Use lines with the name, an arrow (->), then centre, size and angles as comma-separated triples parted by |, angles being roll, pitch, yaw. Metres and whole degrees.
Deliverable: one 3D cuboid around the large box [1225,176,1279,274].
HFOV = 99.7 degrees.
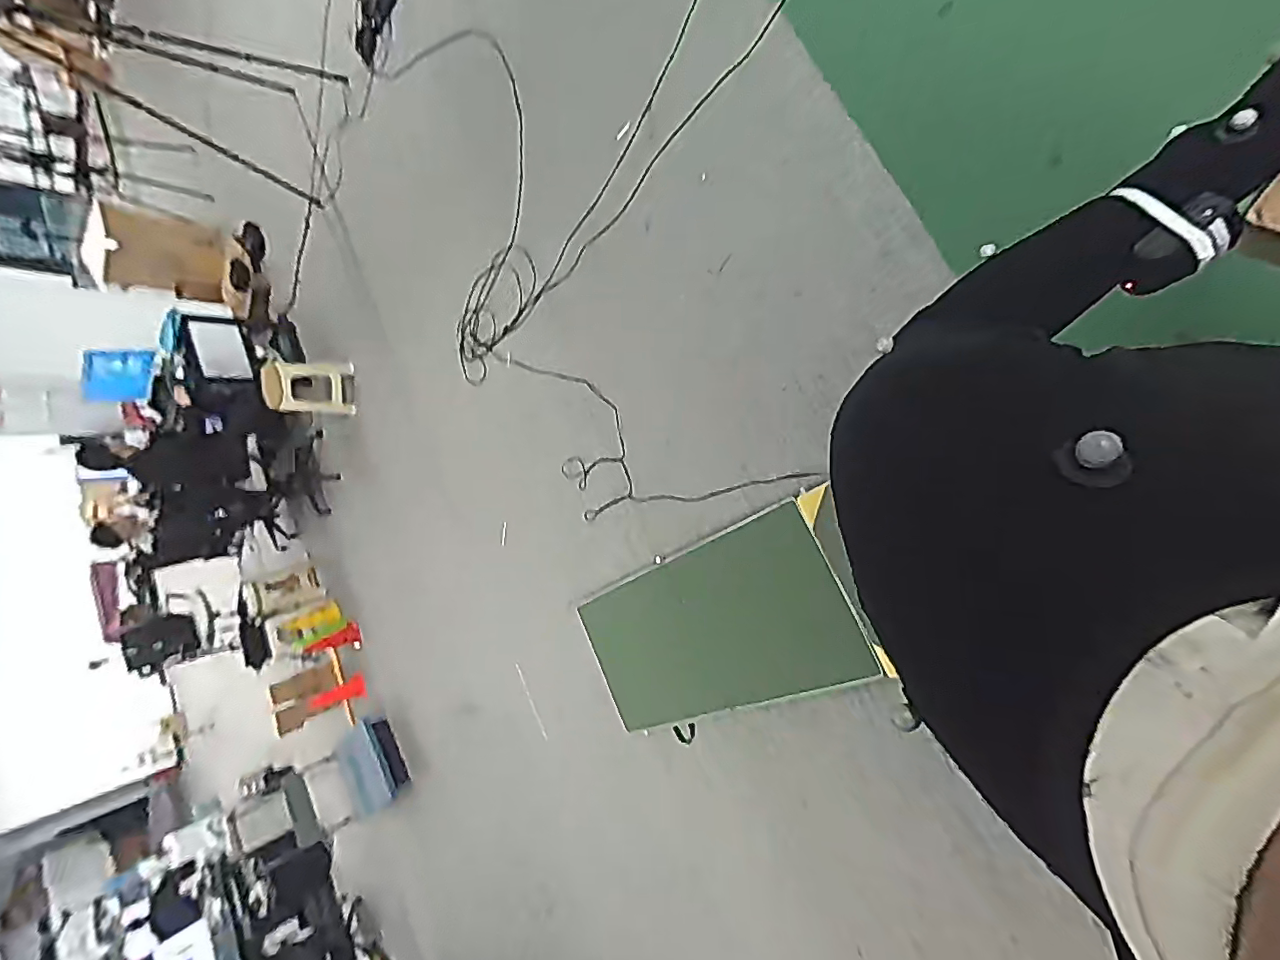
large box -> 0.759, -0.248, 0.360 | 0.408, 0.320, 0.320 | 41, 129, 29
